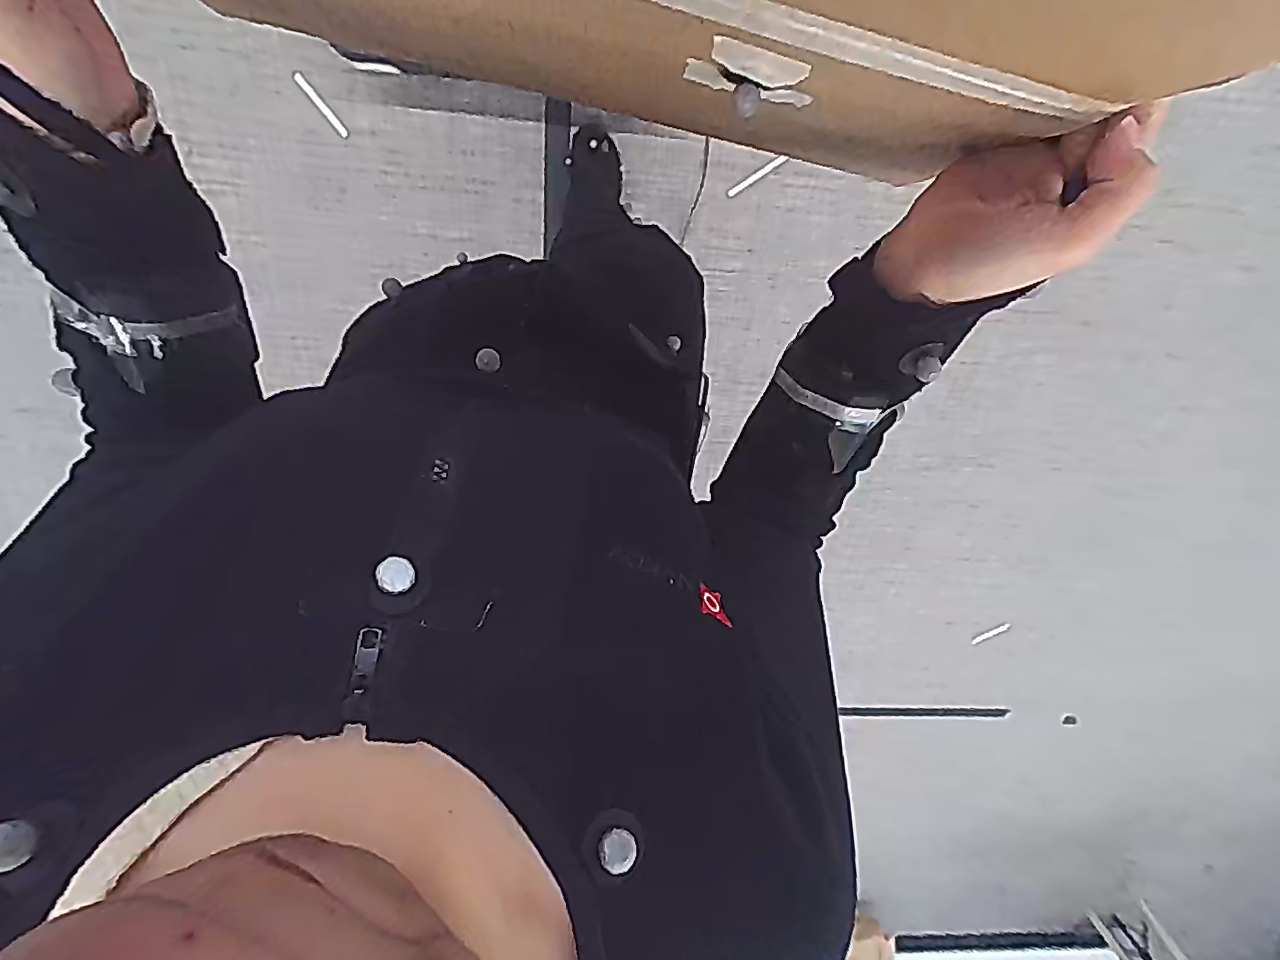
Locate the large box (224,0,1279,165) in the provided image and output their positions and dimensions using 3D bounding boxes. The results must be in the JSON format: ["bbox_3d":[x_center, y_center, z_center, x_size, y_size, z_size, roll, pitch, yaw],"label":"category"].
[{"bbox_3d":[0.015,-0.321,0.133,0.408,0.320,0.320,7,109,-9],"label":"large box"}]
